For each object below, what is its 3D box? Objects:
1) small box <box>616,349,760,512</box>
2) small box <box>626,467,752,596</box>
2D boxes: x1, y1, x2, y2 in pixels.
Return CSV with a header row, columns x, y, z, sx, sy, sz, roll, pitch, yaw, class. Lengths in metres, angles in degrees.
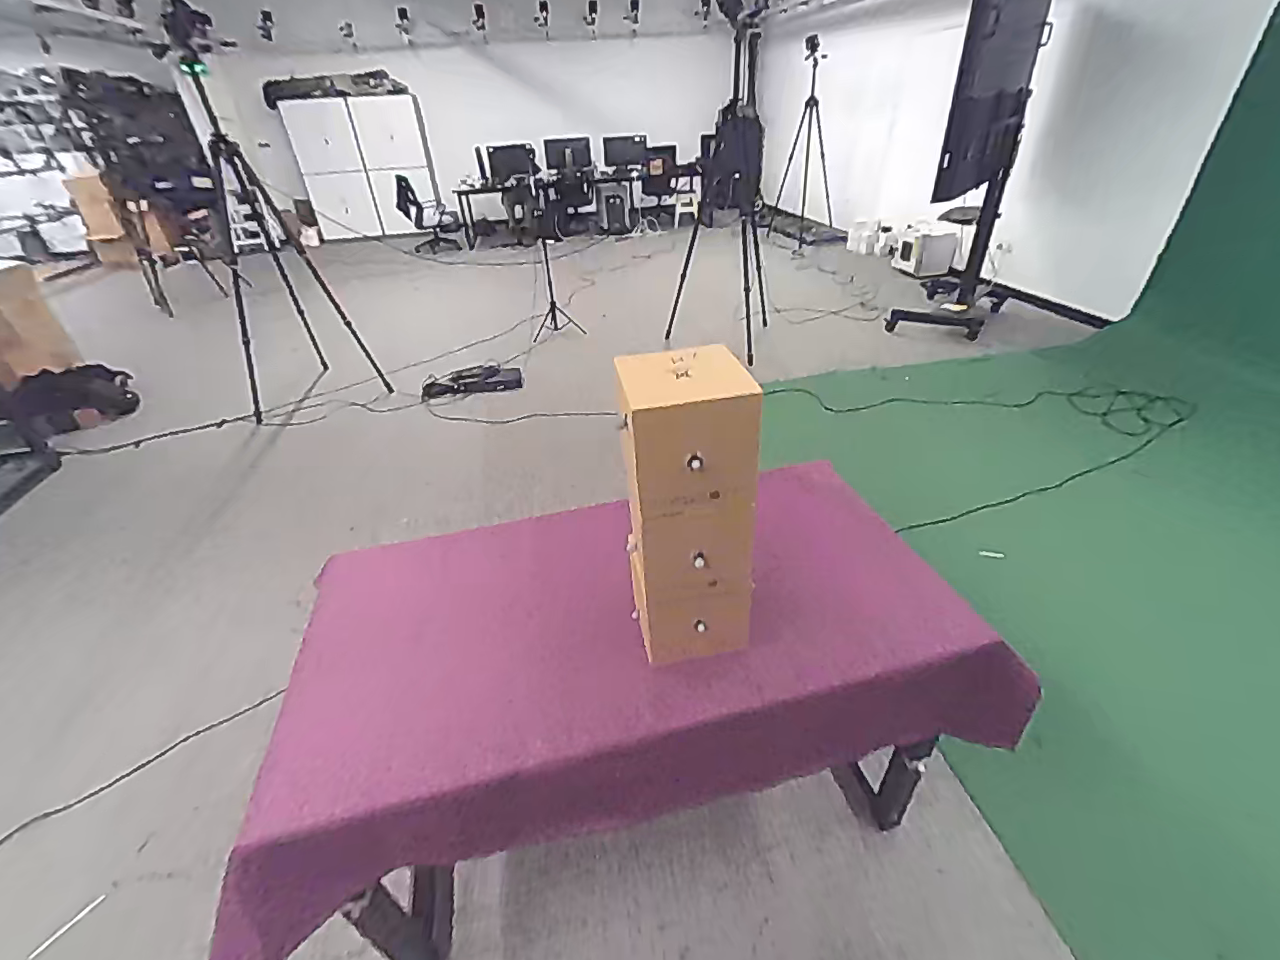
x,y,z,sx,sy,sz,roll,pitch,yaw,class
0.062,-0.068,0.763,0.168,0.176,0.179,-8,34,-6,small box
0.073,0.068,0.858,0.168,0.176,0.179,-7,35,-5,small box
